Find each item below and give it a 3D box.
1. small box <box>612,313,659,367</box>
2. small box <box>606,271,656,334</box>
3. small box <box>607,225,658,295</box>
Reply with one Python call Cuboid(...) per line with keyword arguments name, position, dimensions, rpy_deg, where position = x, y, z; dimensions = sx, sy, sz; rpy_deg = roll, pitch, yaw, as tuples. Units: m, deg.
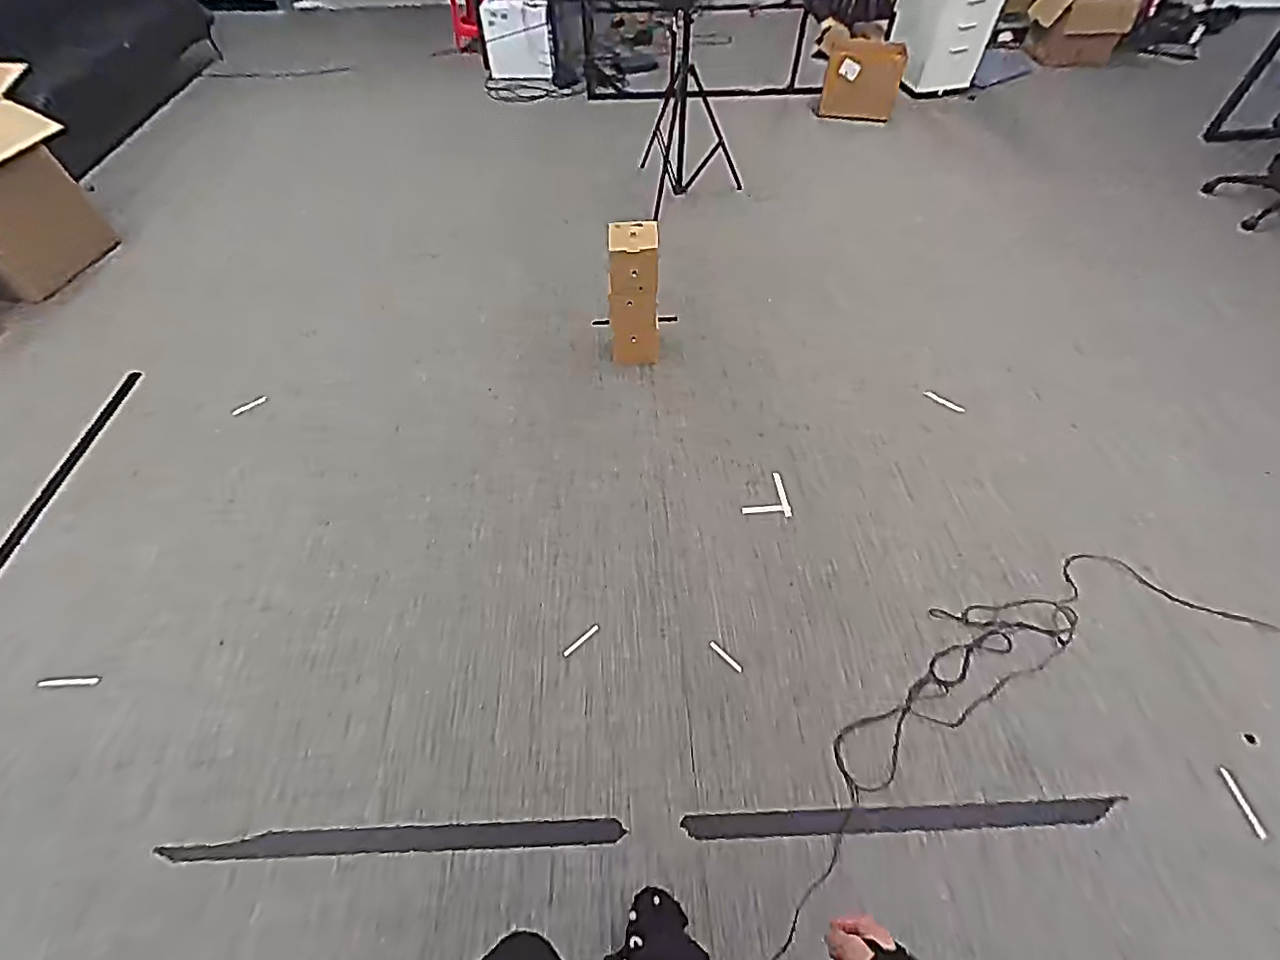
Cuboid(name="small box", position=(-0.020, -0.565, 2.141), dimensions=(0.179, 0.176, 0.168), rpy_deg=(-3, 54, -1))
Cuboid(name="small box", position=(-0.030, -0.659, 2.006), dimensions=(0.179, 0.176, 0.168), rpy_deg=(-1, 55, 0))
Cuboid(name="small box", position=(-0.023, -0.758, 1.876), dimensions=(0.168, 0.176, 0.179), rpy_deg=(-2, 55, 0))
